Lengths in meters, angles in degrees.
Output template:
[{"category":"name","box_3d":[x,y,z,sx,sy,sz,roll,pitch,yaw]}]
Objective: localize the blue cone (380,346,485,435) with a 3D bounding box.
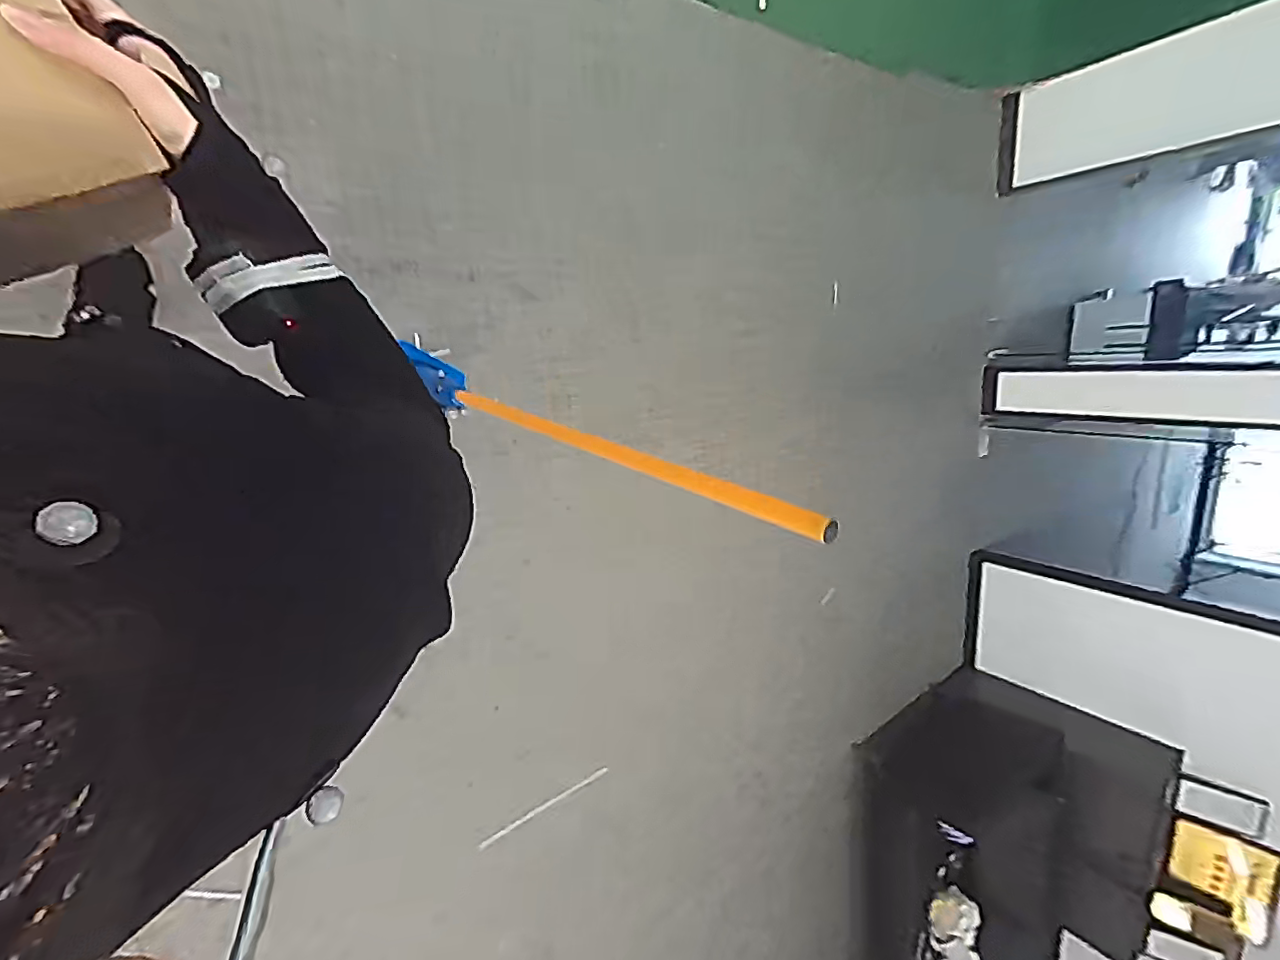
[{"category":"blue cone","box_3d":[-0.455,-0.205,1.257,0.192,0.380,0.193,25,83,-37]}]
